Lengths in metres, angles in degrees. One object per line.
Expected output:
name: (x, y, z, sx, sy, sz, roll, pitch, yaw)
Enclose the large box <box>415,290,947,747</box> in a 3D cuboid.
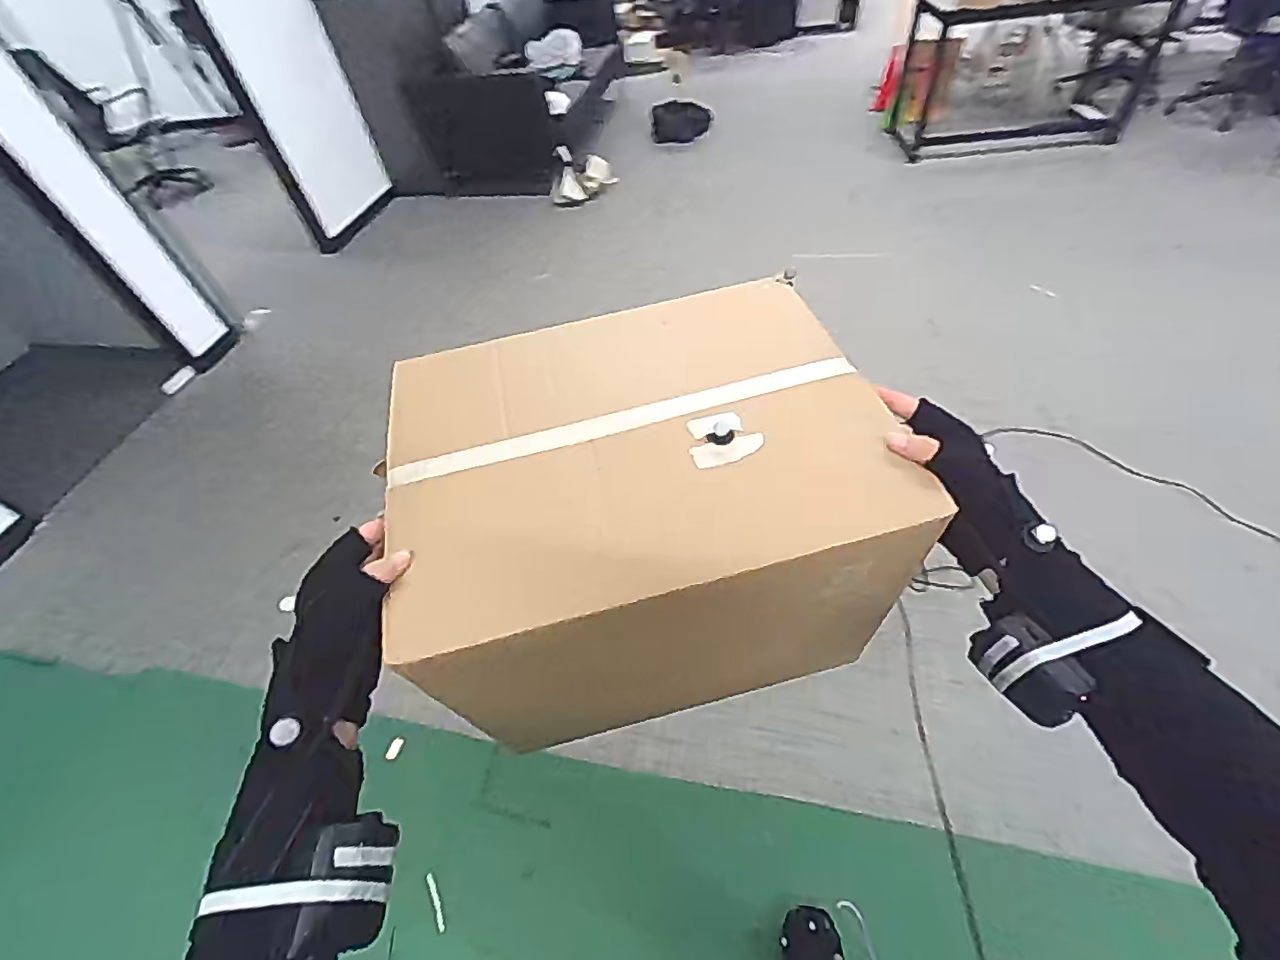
large box: (0.014, 0.047, 0.588, 0.408, 0.320, 0.320, -13, 53, -5)
